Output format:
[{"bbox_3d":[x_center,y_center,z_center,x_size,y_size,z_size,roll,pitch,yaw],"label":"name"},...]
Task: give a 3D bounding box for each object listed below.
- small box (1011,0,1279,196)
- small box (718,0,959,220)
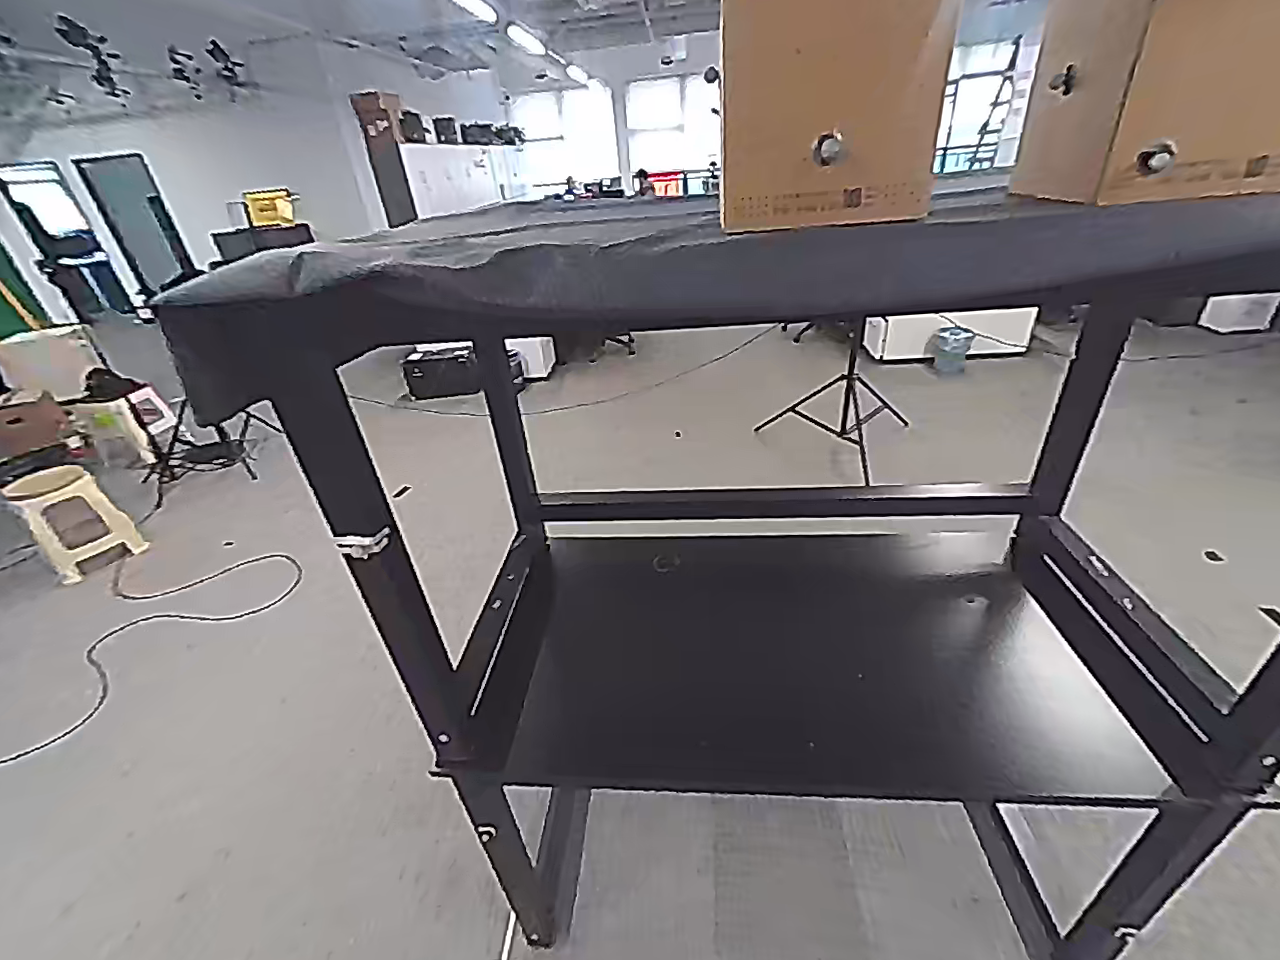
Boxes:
[{"bbox_3d":[0.452,-0.340,0.453,0.168,0.176,0.179,1,30,10],"label":"small box"},{"bbox_3d":[0.154,-0.331,0.482,0.168,0.176,0.179,-1,29,8],"label":"small box"}]
